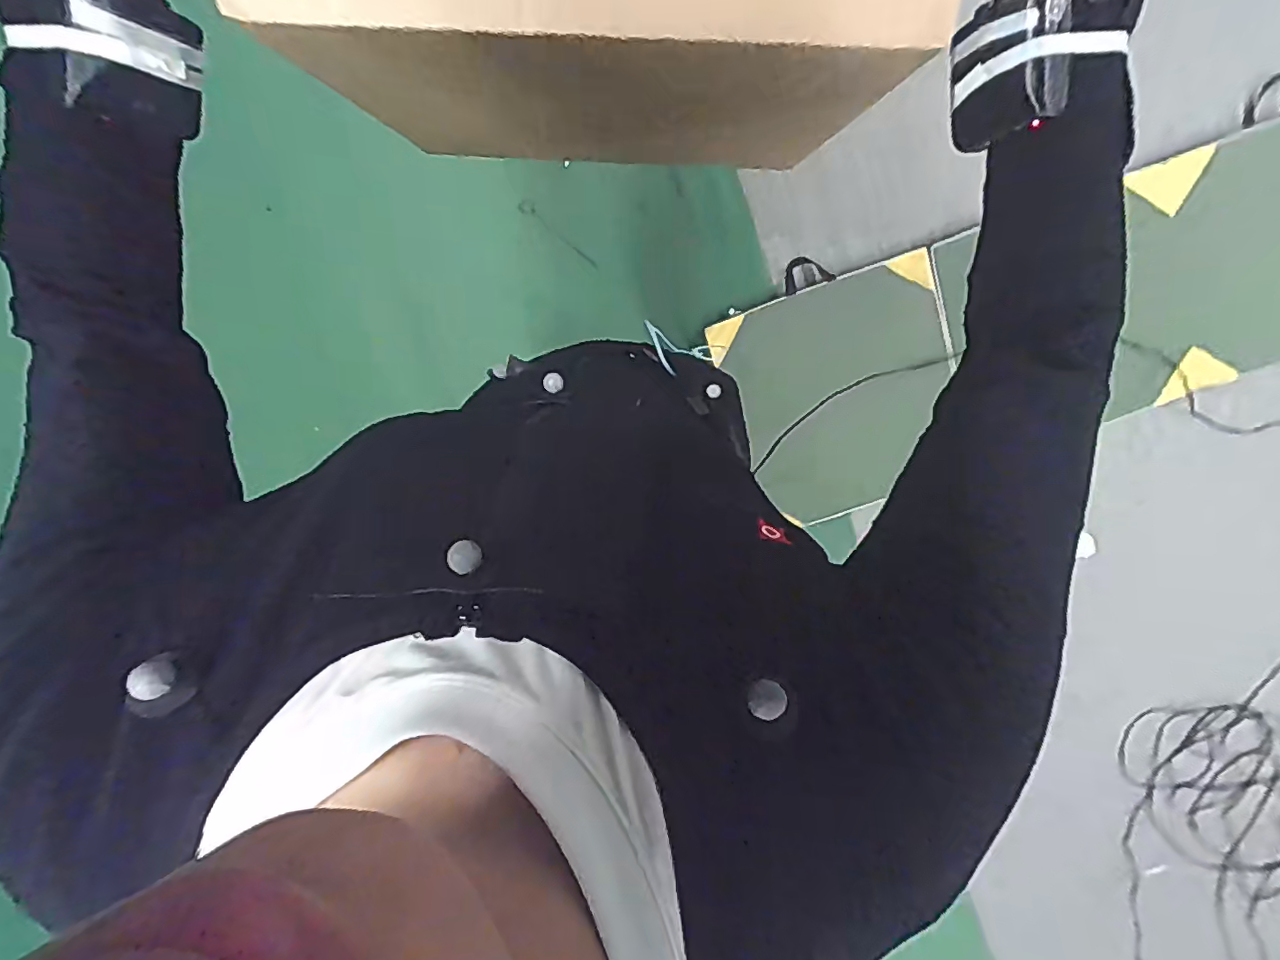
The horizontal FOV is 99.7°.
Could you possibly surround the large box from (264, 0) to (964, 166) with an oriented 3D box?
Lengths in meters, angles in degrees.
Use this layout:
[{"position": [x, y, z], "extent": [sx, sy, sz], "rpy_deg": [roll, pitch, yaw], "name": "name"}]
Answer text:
[{"position": [-0.015, -0.447, 0.403], "extent": [0.408, 0.320, 0.320], "rpy_deg": [1, 109, -3], "name": "large box"}]
